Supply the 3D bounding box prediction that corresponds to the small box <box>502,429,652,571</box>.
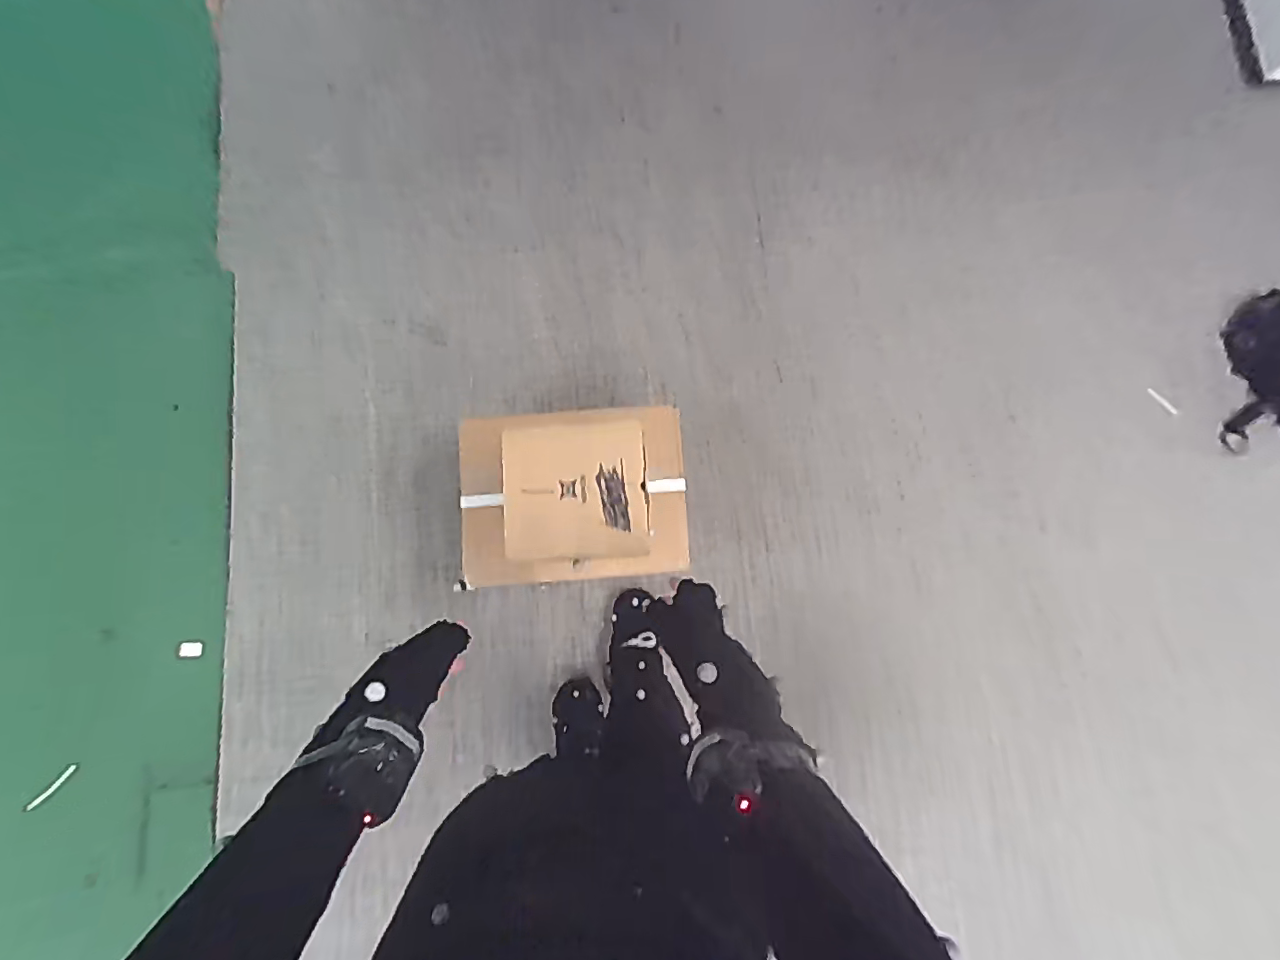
[{"bbox_3d":[-0.079,0.033,0.732,0.179,0.176,0.168,-4,82,-1],"label":"small box"}]
